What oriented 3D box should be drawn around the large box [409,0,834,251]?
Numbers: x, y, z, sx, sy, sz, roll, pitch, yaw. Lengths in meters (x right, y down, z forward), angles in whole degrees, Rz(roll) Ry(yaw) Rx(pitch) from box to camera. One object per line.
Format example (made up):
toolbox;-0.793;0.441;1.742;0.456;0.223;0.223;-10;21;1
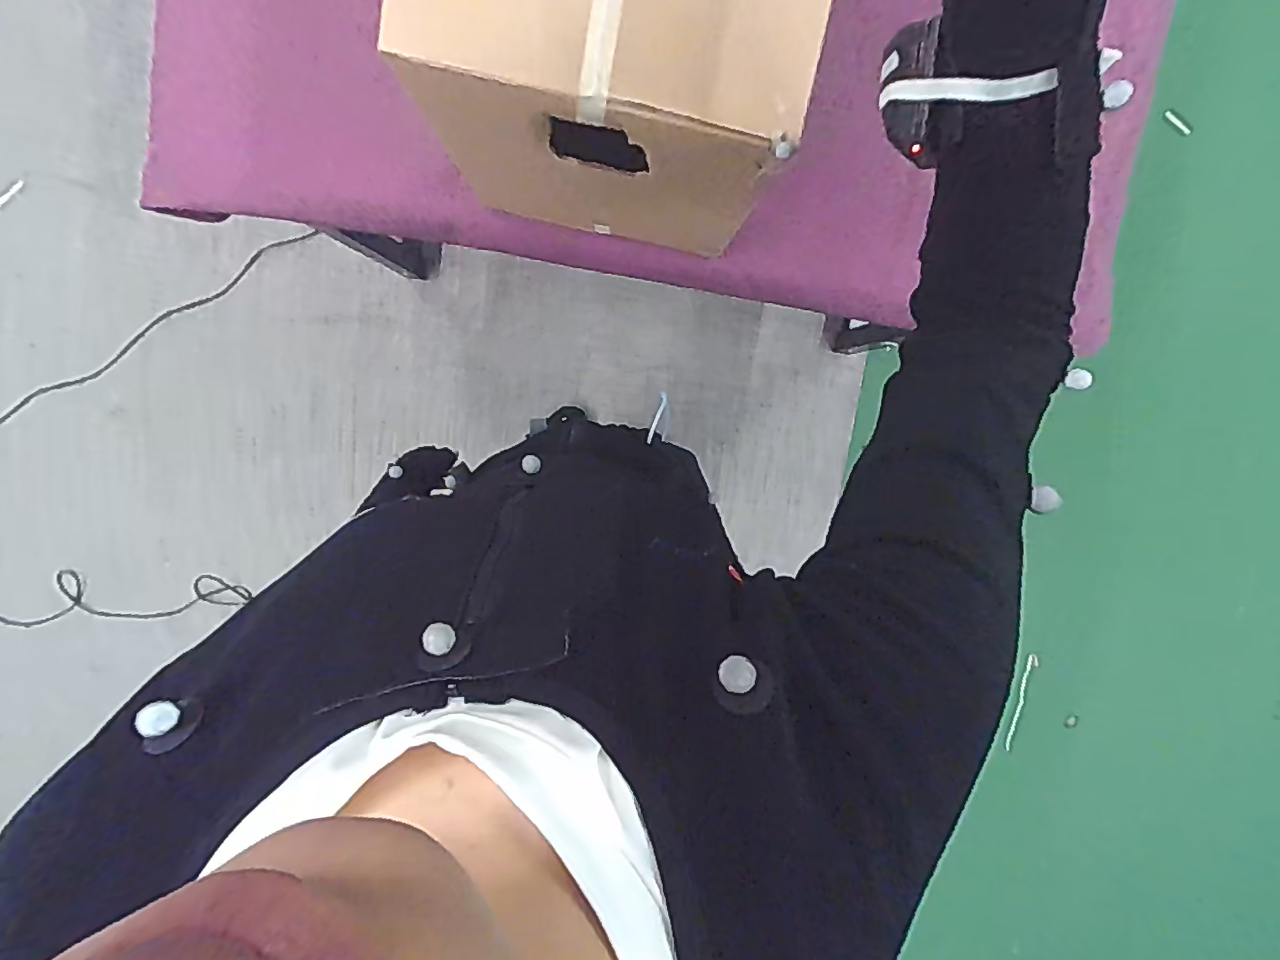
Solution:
large box;0.005;-0.498;0.532;0.320;0.320;0.408;11;99;-4
